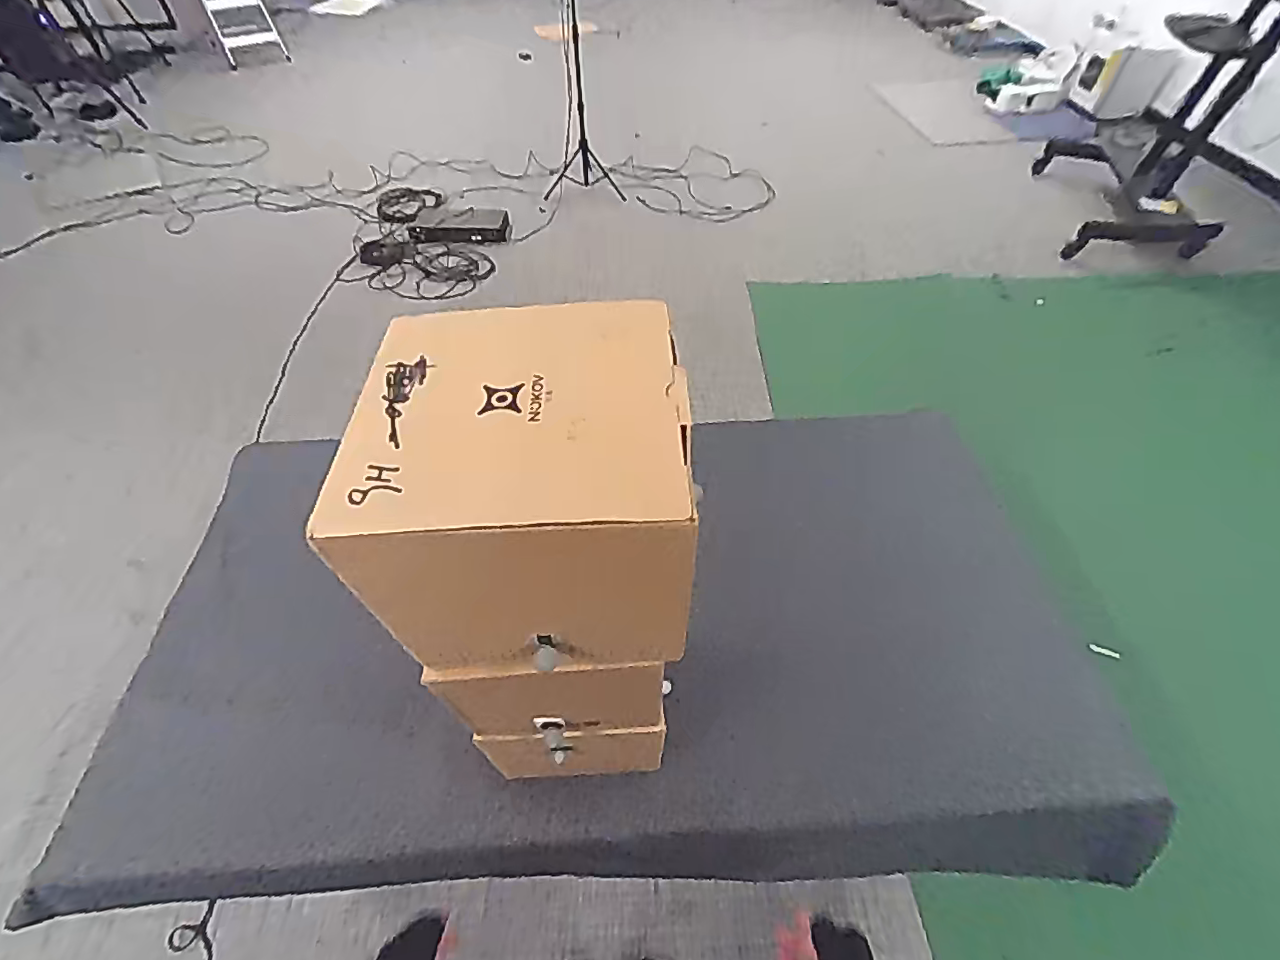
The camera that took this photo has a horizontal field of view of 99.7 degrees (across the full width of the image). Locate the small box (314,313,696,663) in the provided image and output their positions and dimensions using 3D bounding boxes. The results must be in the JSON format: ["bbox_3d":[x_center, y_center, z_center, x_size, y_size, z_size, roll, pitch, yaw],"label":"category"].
[{"bbox_3d":[-0.064,0.010,0.357,0.179,0.176,0.168,-2,51,-1],"label":"small box"}]

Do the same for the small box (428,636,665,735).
[{"bbox_3d":[-0.069,0.111,0.485,0.168,0.176,0.179,-4,53,-2],"label":"small box"}]

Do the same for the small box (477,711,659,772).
[{"bbox_3d":[-0.071,0.227,0.620,0.179,0.176,0.168,-2,52,-2],"label":"small box"}]
